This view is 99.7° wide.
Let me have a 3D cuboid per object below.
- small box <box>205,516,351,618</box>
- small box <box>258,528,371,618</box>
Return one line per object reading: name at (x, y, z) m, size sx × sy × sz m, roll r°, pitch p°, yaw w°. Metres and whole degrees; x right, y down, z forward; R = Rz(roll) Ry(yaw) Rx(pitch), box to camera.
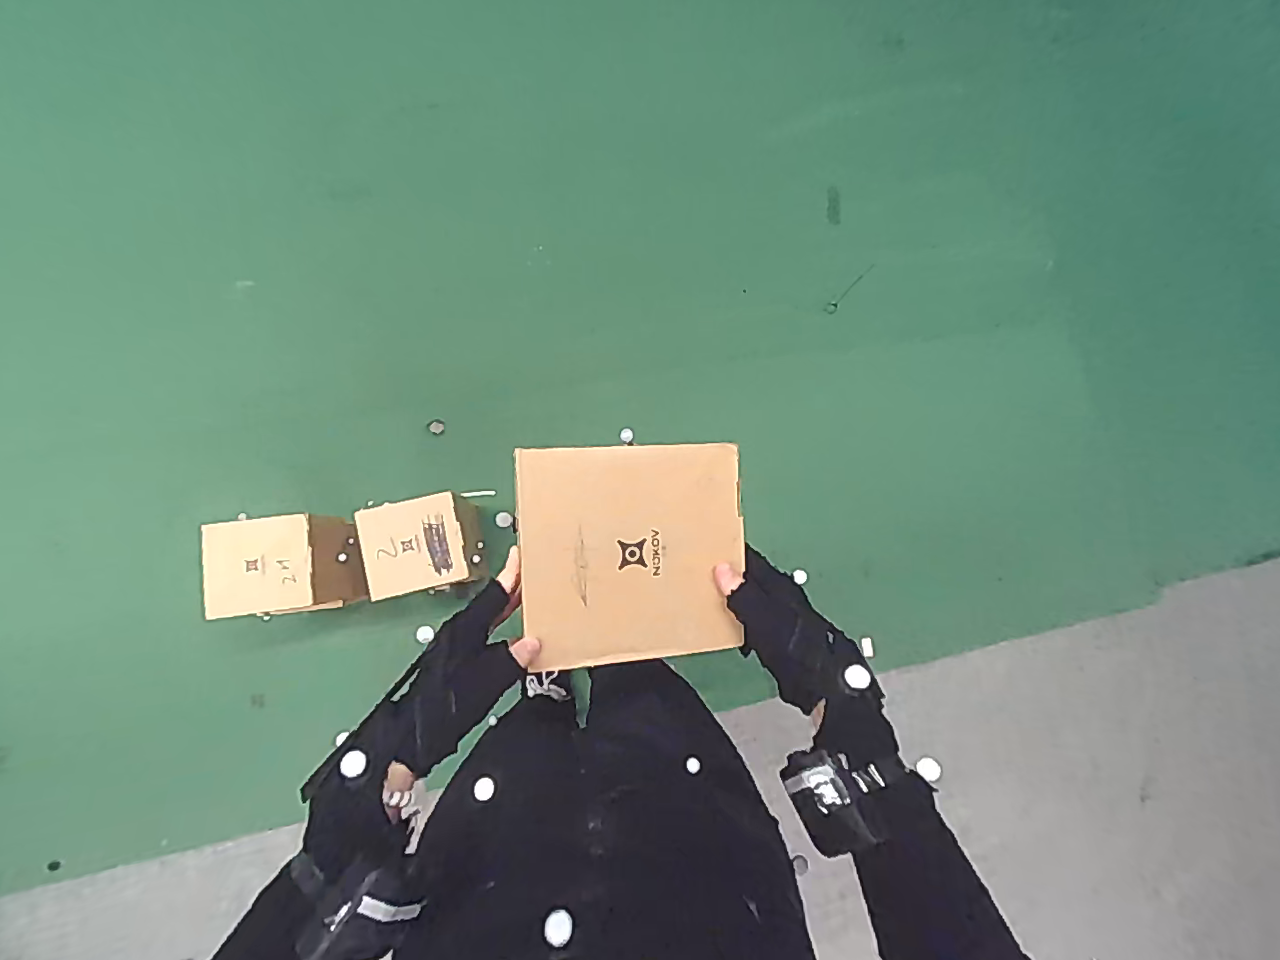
small box at (-0.675, 0.163, 1.022) m, size 0.179 × 0.176 × 0.168 m, roll -6°, pitch 83°, yaw -8°
small box at (-0.703, 0.196, 1.182) m, size 0.168 × 0.176 × 0.179 m, roll -5°, pitch 82°, yaw -8°
